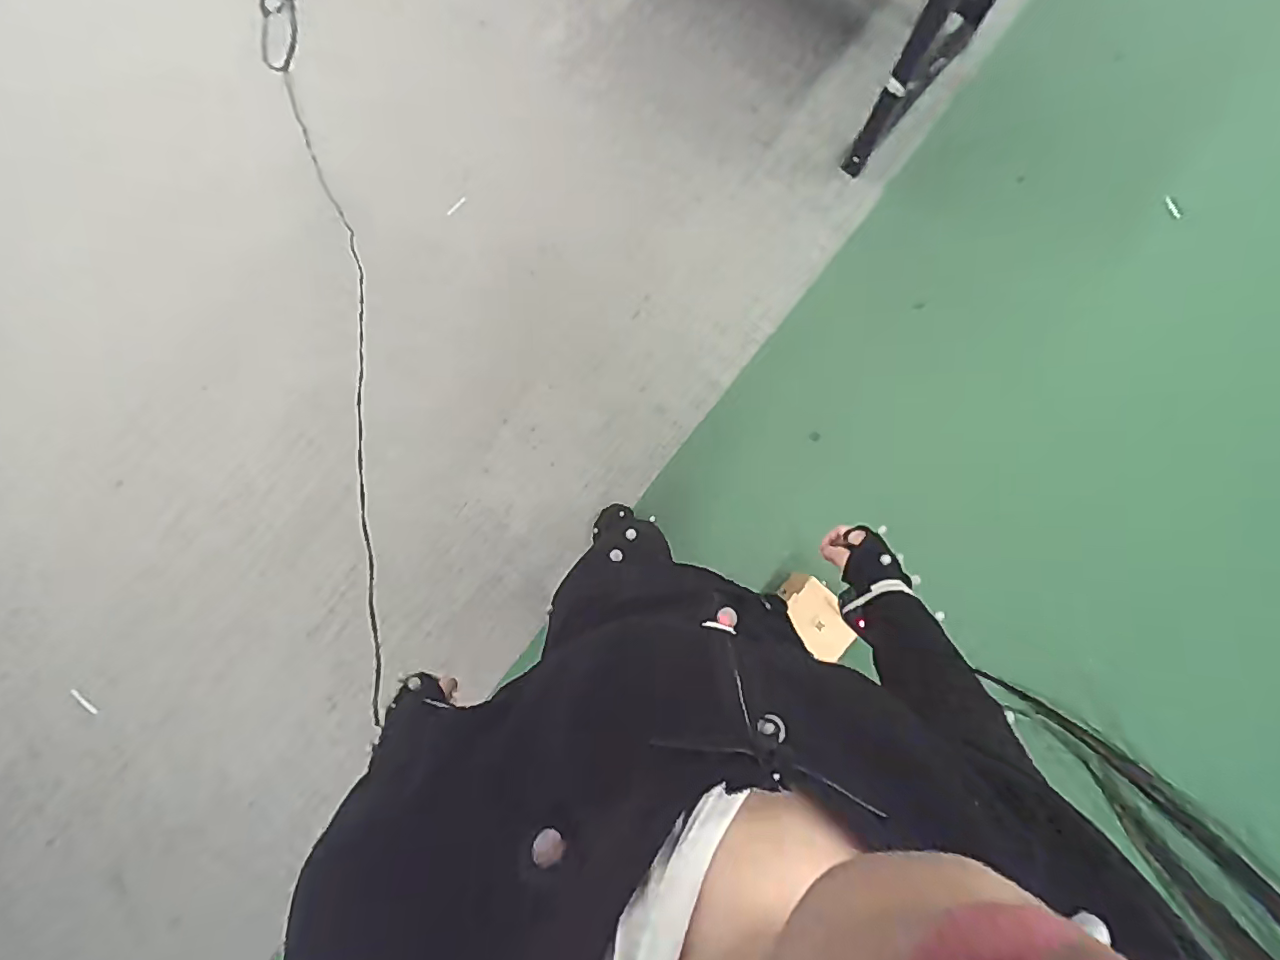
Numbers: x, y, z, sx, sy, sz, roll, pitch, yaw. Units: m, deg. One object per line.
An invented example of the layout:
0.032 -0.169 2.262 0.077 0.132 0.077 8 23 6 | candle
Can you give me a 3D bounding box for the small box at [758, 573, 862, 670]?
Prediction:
0.435 0.357 1.412 0.179 0.176 0.168 41 87 5 | small box
